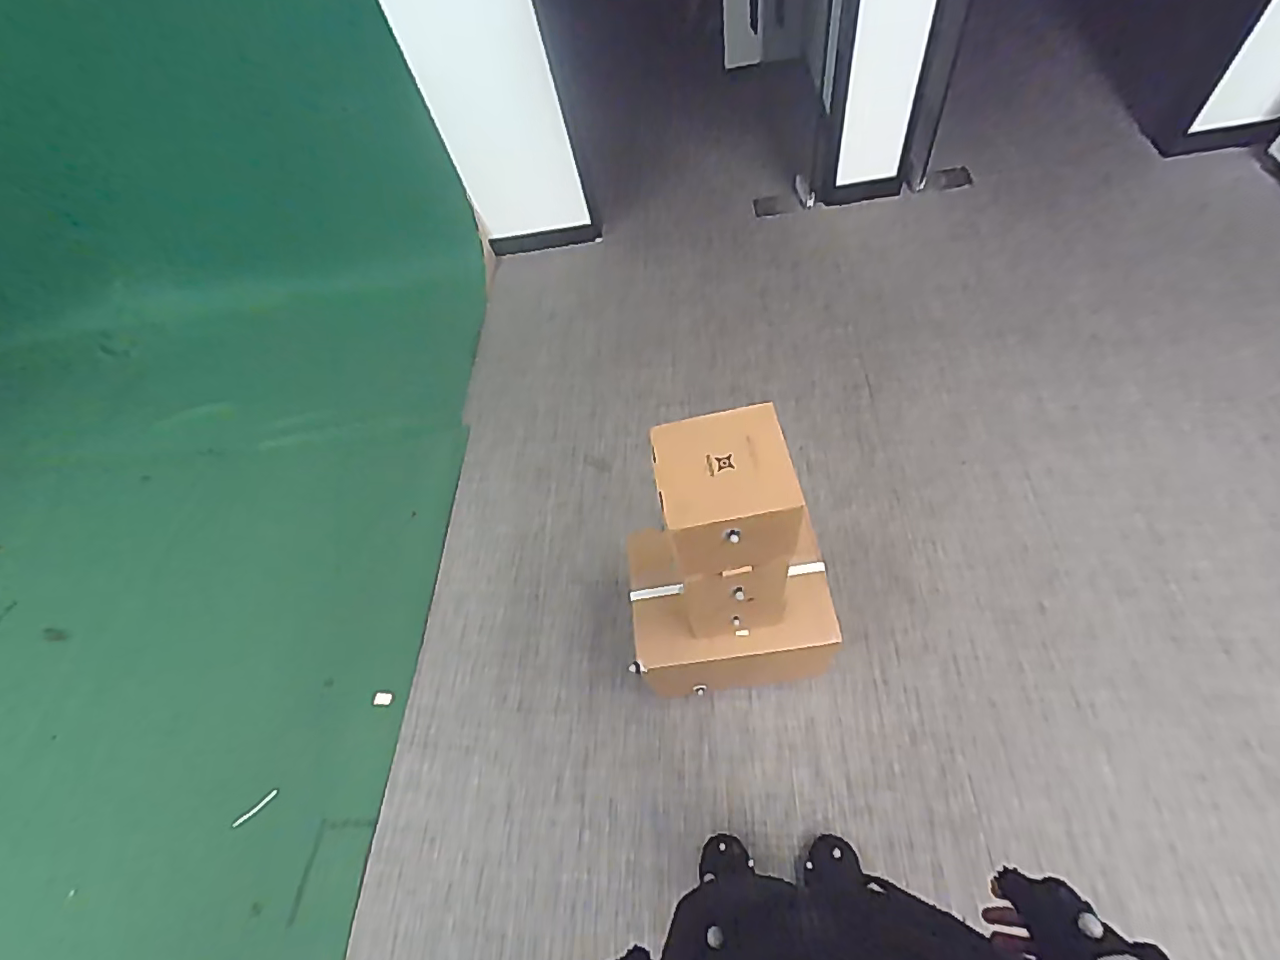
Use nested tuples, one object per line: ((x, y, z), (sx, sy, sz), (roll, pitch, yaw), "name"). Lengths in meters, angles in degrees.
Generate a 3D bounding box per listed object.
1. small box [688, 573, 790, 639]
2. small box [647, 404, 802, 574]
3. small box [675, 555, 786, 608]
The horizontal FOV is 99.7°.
((0.173, 0.191, 1.041), (0.179, 0.176, 0.168), (-14, 58, 2), "small box")
((0.117, 0.021, 0.769), (0.179, 0.176, 0.168), (-11, 59, 4), "small box")
((0.140, 0.104, 0.907), (0.168, 0.176, 0.179), (-12, 58, 4), "small box")
